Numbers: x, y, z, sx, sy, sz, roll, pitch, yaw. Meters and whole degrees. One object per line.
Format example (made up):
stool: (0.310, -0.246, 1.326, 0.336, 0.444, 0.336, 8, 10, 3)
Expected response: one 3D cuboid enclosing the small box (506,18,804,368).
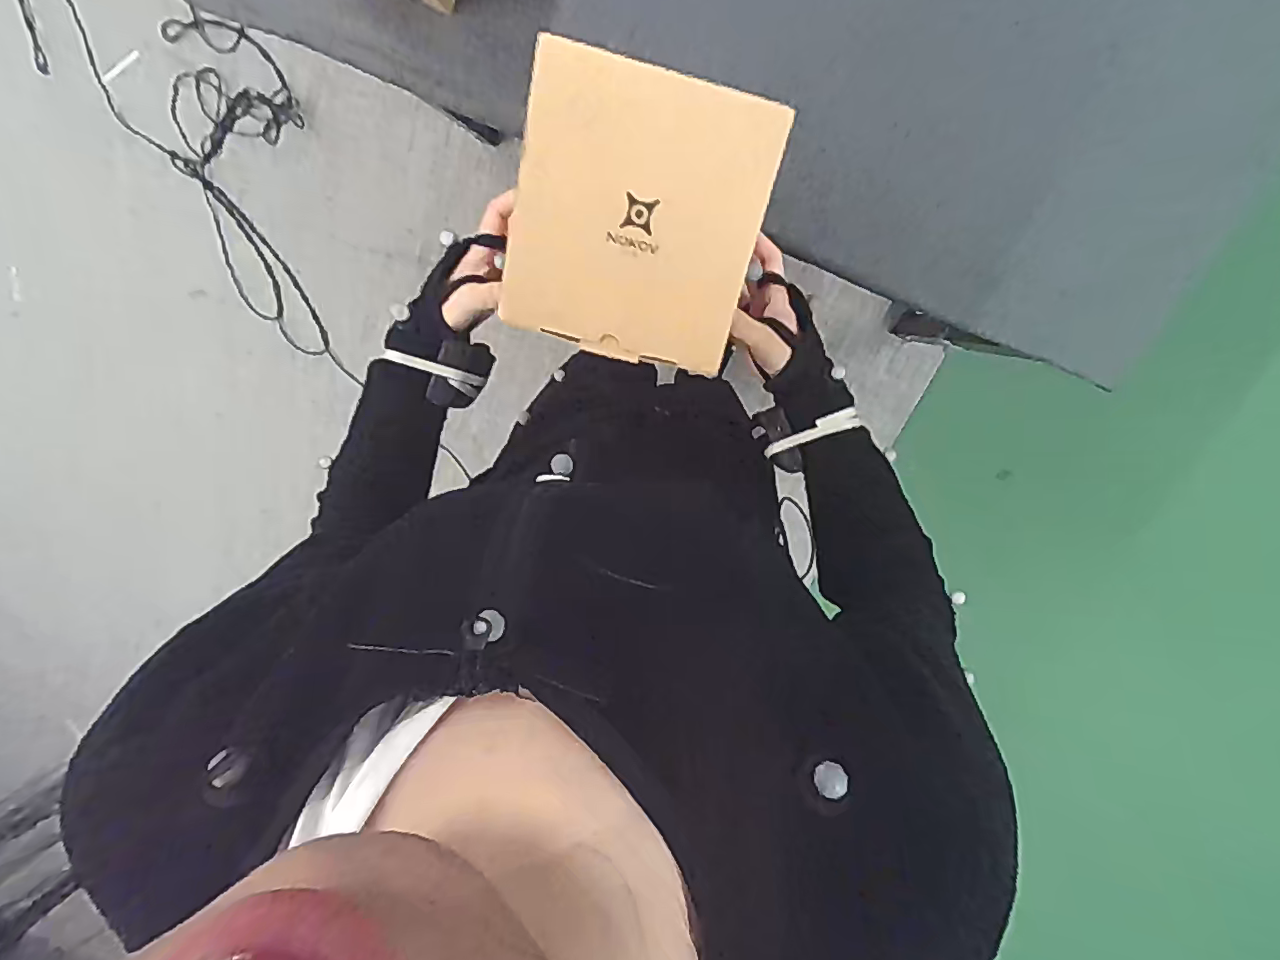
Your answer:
small box: (0.001, -0.205, 0.428, 0.168, 0.176, 0.179, 12, 111, -7)
